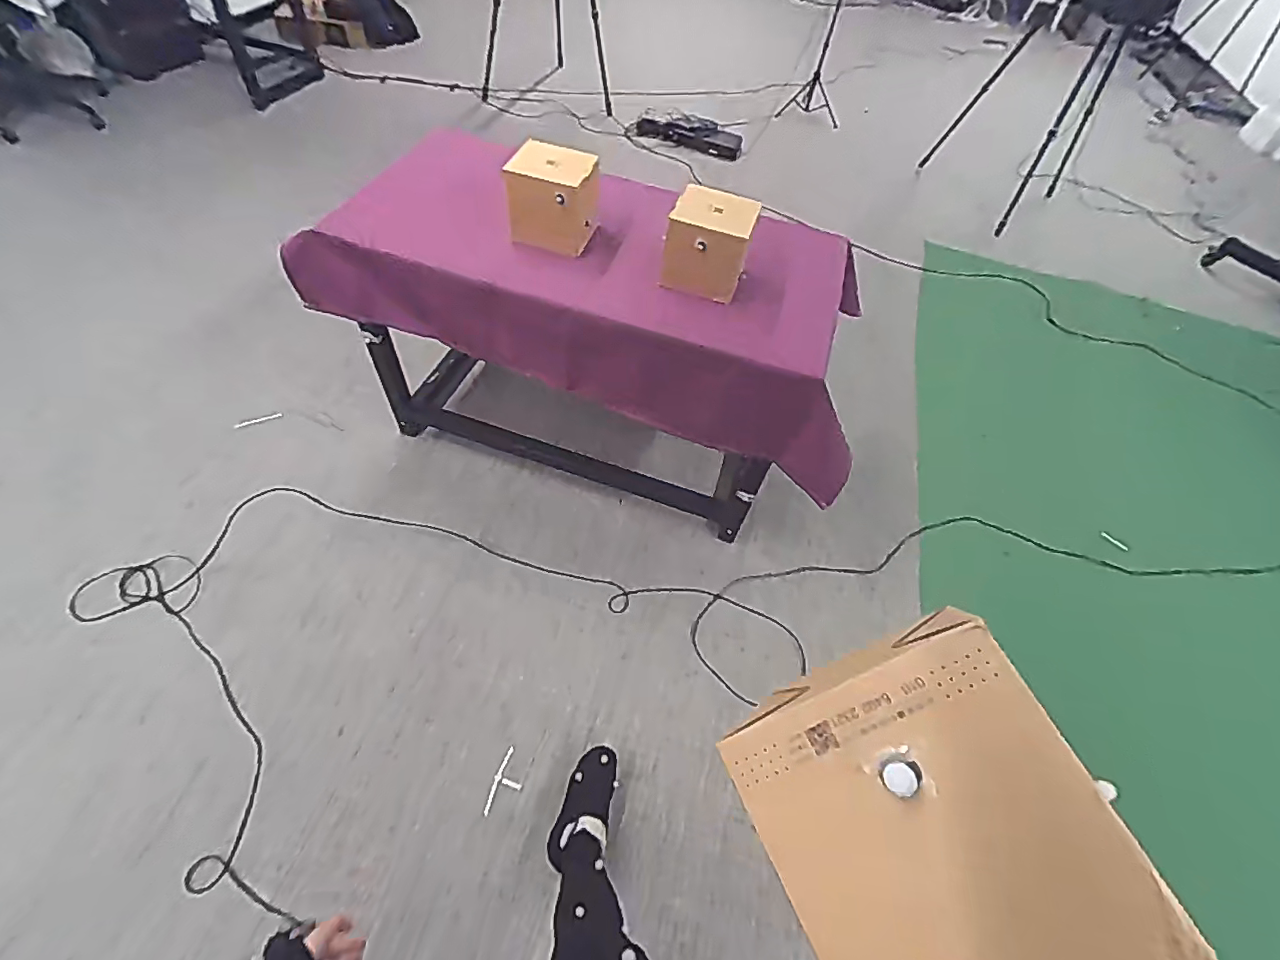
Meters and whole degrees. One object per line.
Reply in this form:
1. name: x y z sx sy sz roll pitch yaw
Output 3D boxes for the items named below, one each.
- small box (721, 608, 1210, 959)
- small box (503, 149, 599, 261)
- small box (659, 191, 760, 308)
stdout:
1. small box: 0.179 0.194 0.354 0.168 0.179 0.176 -34 67 15
2. small box: -0.206 -0.645 1.279 0.179 0.176 0.168 15 53 3
3. small box: 0.153 -0.519 1.229 0.179 0.176 0.168 19 54 6
